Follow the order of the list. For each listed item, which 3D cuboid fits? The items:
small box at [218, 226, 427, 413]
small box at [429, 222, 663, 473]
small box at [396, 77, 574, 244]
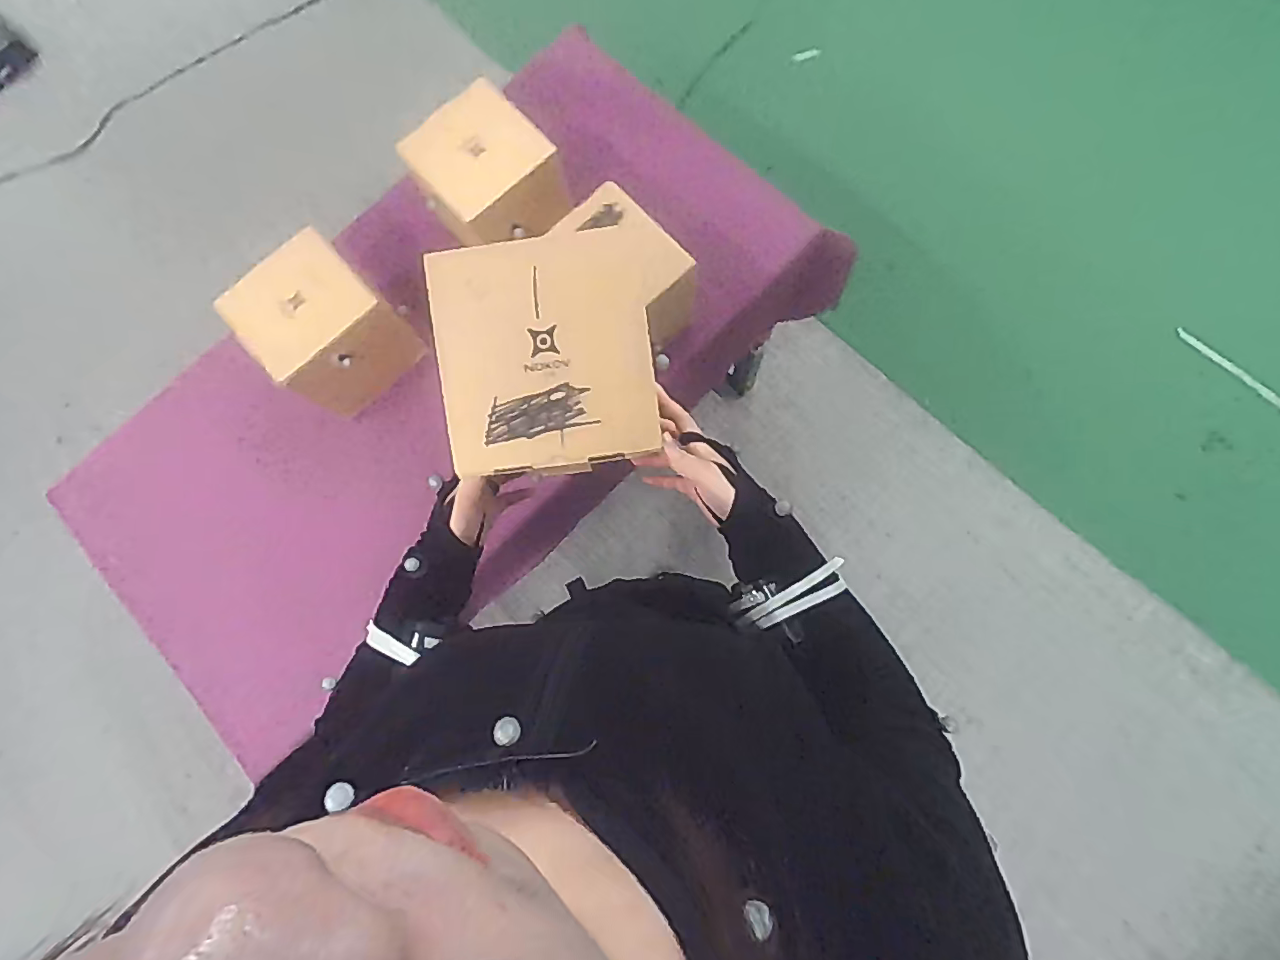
[{"bbox_3d":[-0.464,-0.228,0.818,0.179,0.176,0.168,-41,80,-5],"label":"small box"},{"bbox_3d":[-0.069,-0.104,0.494,0.168,0.176,0.179,-7,92,2],"label":"small box"},{"bbox_3d":[-0.226,-0.454,0.839,0.168,0.176,0.179,-42,79,-3],"label":"small box"}]
